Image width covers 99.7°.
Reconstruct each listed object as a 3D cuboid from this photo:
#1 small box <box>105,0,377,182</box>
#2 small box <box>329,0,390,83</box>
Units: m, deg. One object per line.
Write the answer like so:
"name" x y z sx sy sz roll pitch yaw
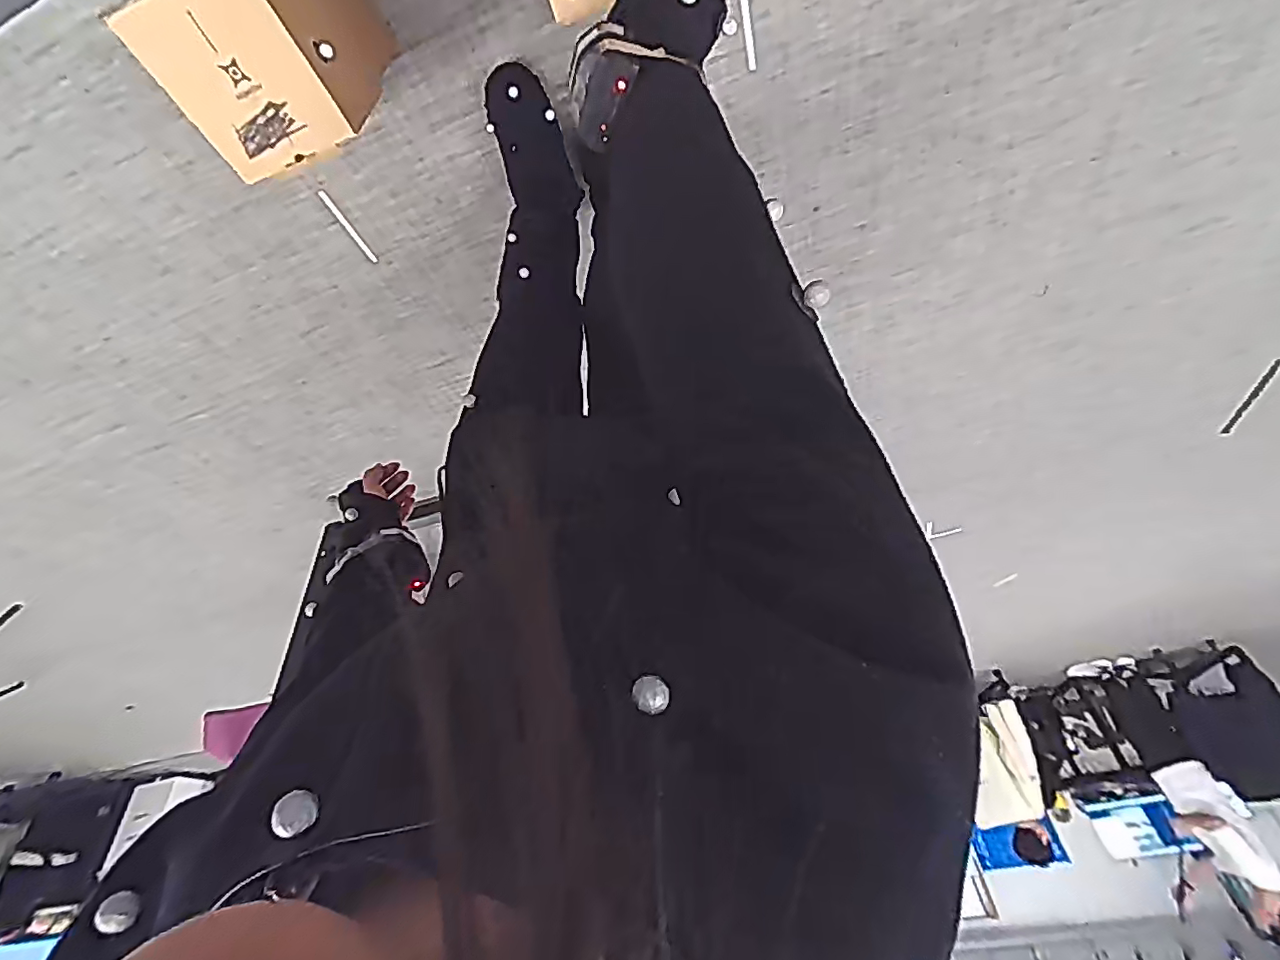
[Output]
"small box" -0.449 -0.504 0.647 0.168 0.176 0.179 -16 140 10
"small box" -0.473 -0.632 0.748 0.179 0.176 0.168 -17 141 13
